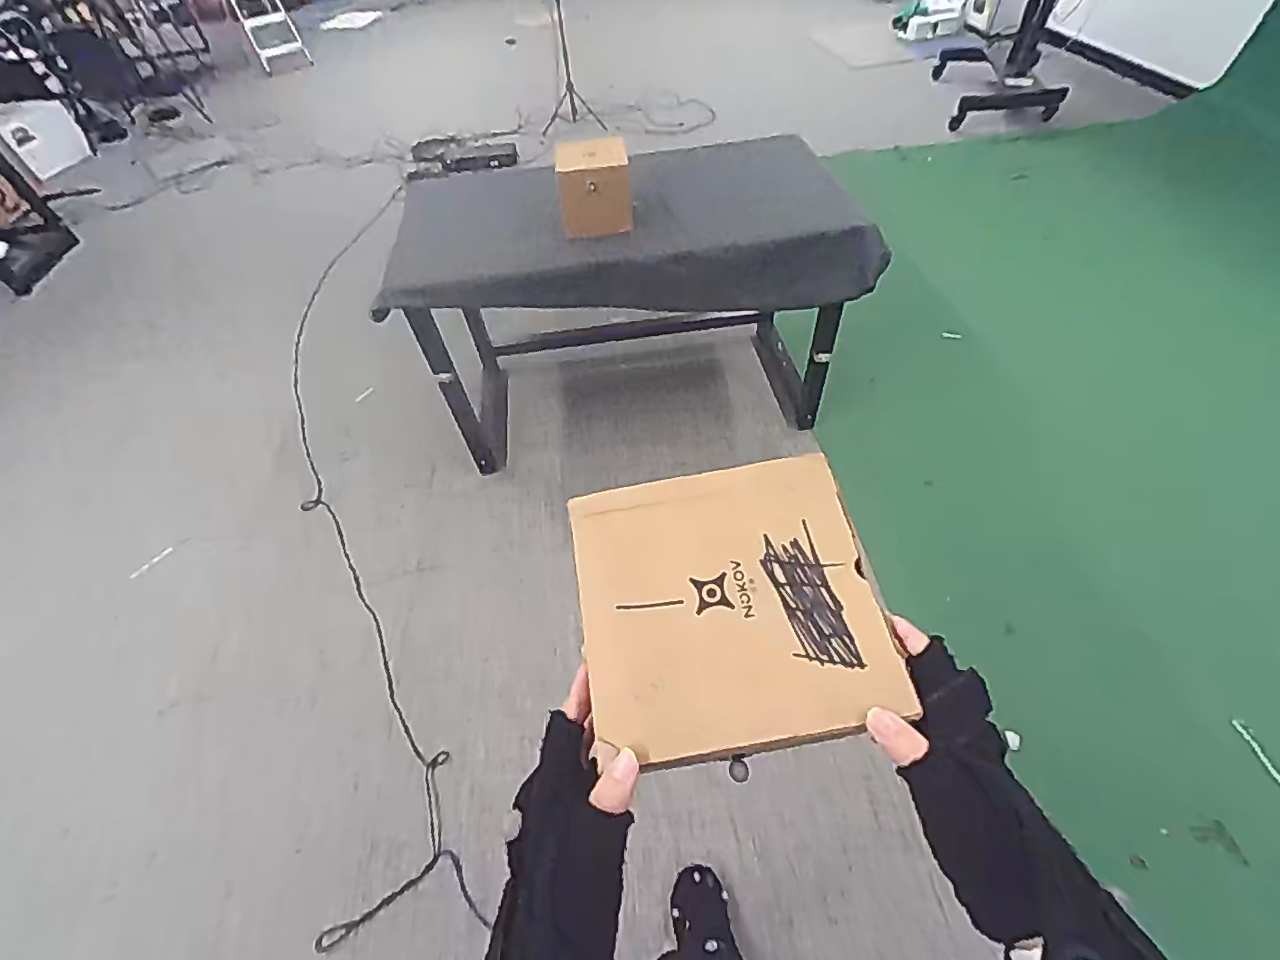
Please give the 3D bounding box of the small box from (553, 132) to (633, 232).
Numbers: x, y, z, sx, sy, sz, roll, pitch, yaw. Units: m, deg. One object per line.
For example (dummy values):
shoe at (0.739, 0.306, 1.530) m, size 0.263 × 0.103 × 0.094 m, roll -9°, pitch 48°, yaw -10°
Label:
small box at (-0.117, -0.746, 1.364) m, size 0.179 × 0.176 × 0.168 m, roll -7°, pitch 53°, yaw -2°

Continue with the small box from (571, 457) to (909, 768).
small box at (0.055, 0.105, 0.397) m, size 0.179 × 0.176 × 0.168 m, roll -10°, pitch 62°, yaw -1°
